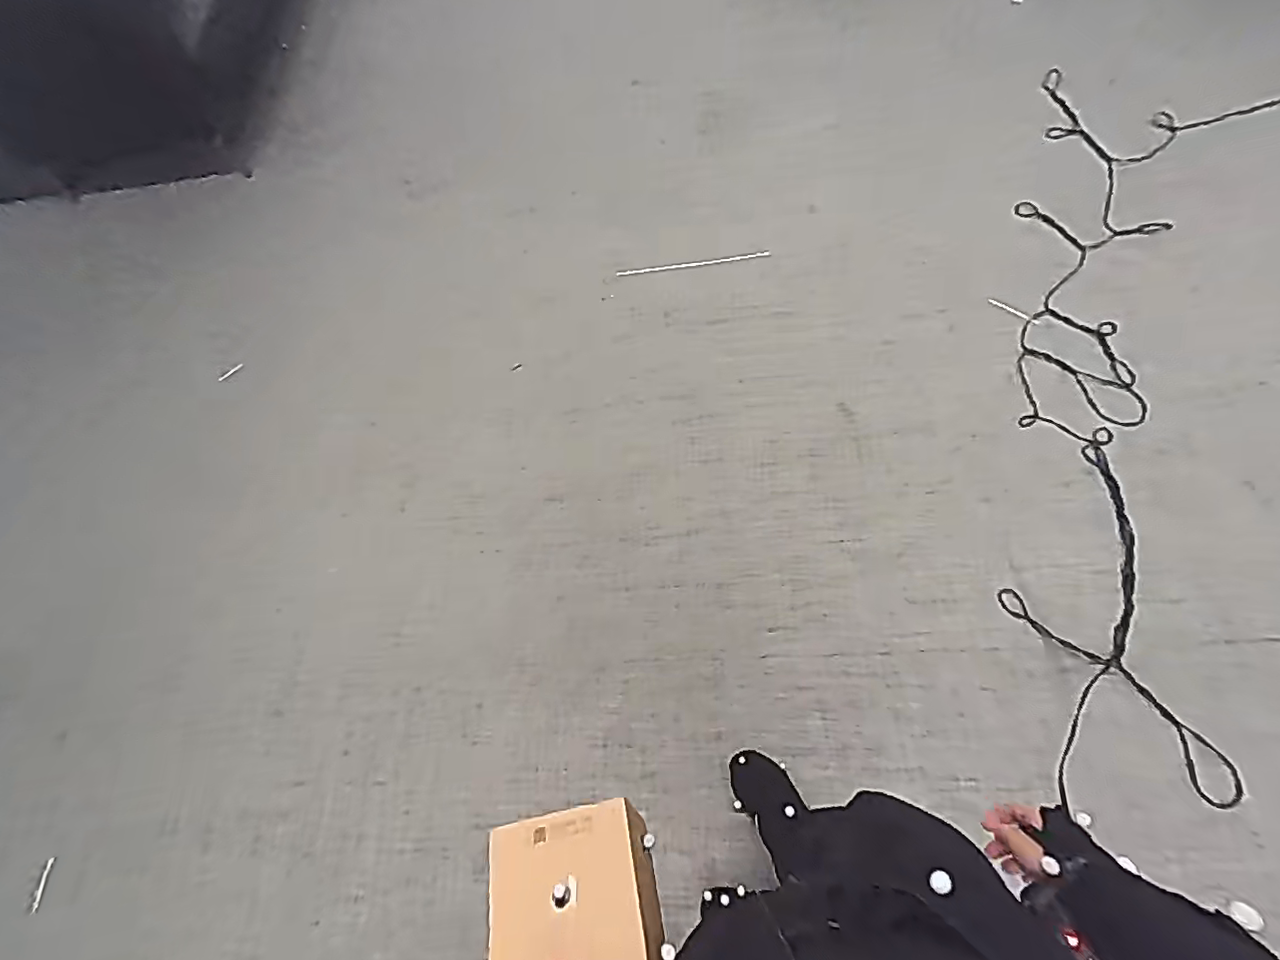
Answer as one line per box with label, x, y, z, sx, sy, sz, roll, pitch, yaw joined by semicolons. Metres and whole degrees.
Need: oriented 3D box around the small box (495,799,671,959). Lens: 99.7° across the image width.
small box;-0.068;0.502;0.644;0.168;0.179;0.176;-14;47;0
